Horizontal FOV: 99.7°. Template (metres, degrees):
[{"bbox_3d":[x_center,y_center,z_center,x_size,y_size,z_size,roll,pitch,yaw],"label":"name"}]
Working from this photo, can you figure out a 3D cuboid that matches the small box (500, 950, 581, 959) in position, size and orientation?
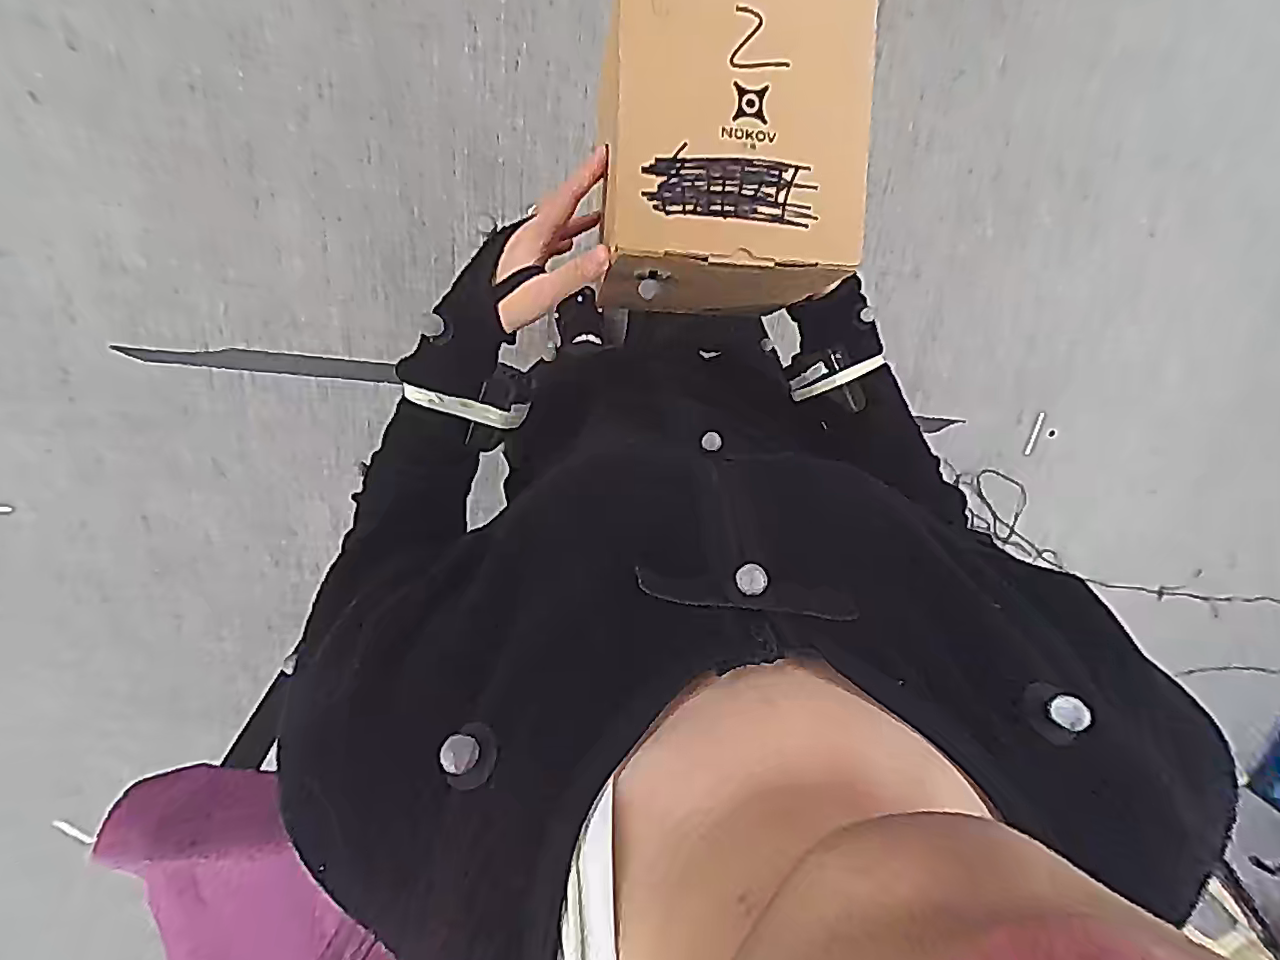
[{"bbox_3d":[-0.194,1.035,1.025,0.168,0.176,0.179,3,110,-11],"label":"small box"}]

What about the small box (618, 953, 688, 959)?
[{"bbox_3d":[0.029,1.097,1.088,0.168,0.176,0.179,5,107,-12],"label":"small box"}]
